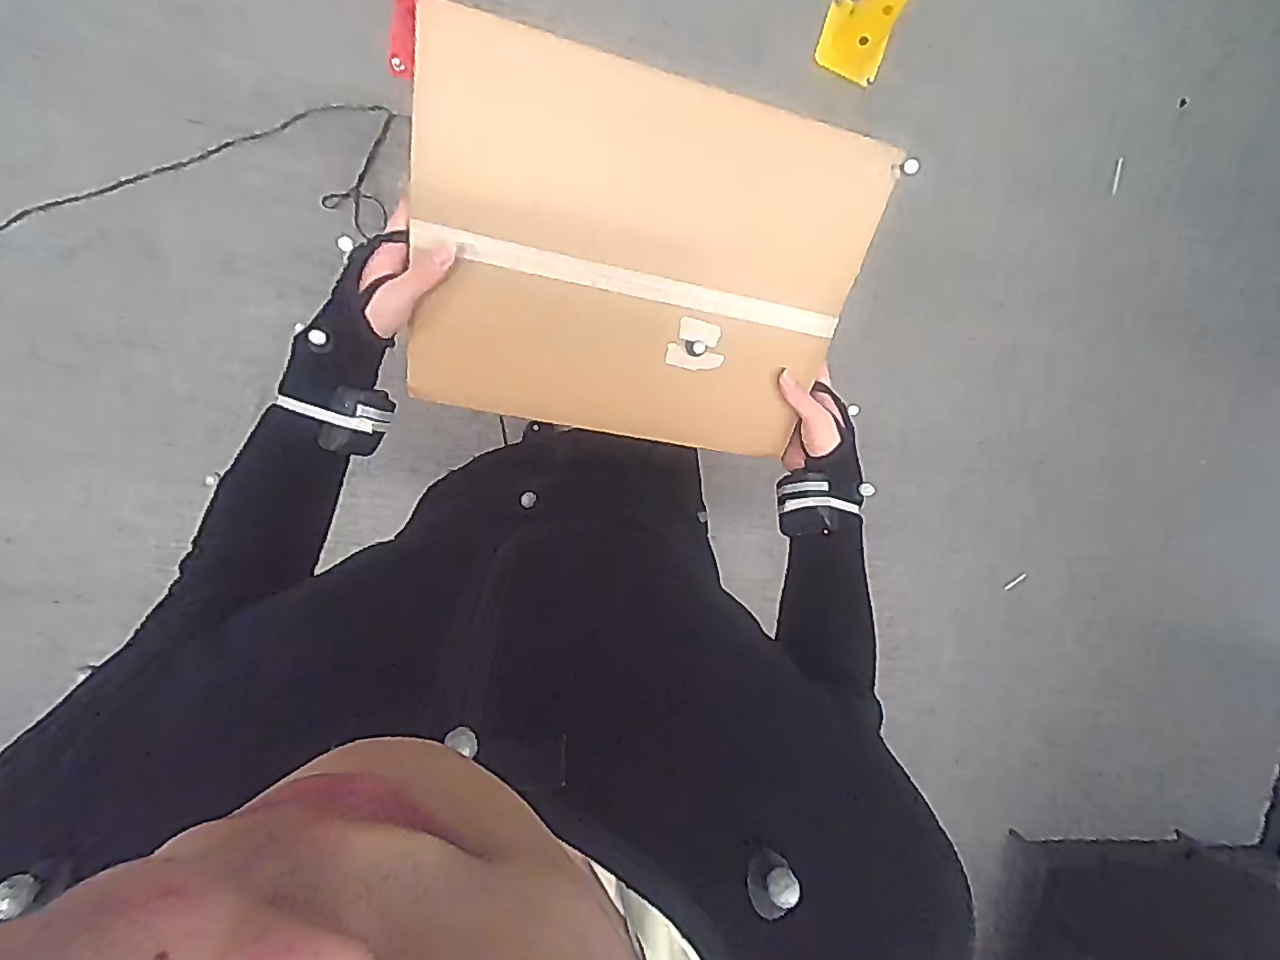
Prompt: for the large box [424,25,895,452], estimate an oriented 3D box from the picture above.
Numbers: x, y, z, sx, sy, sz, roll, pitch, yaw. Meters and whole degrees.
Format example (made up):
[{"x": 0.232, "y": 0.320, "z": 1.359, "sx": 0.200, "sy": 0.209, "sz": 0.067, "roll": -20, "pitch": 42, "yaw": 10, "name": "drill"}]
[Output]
[{"x": -0.014, "y": -0.259, "z": 0.637, "sx": 0.408, "sy": 0.320, "sz": 0.320, "roll": 8, "pitch": 120, "yaw": -13, "name": "large box"}]
